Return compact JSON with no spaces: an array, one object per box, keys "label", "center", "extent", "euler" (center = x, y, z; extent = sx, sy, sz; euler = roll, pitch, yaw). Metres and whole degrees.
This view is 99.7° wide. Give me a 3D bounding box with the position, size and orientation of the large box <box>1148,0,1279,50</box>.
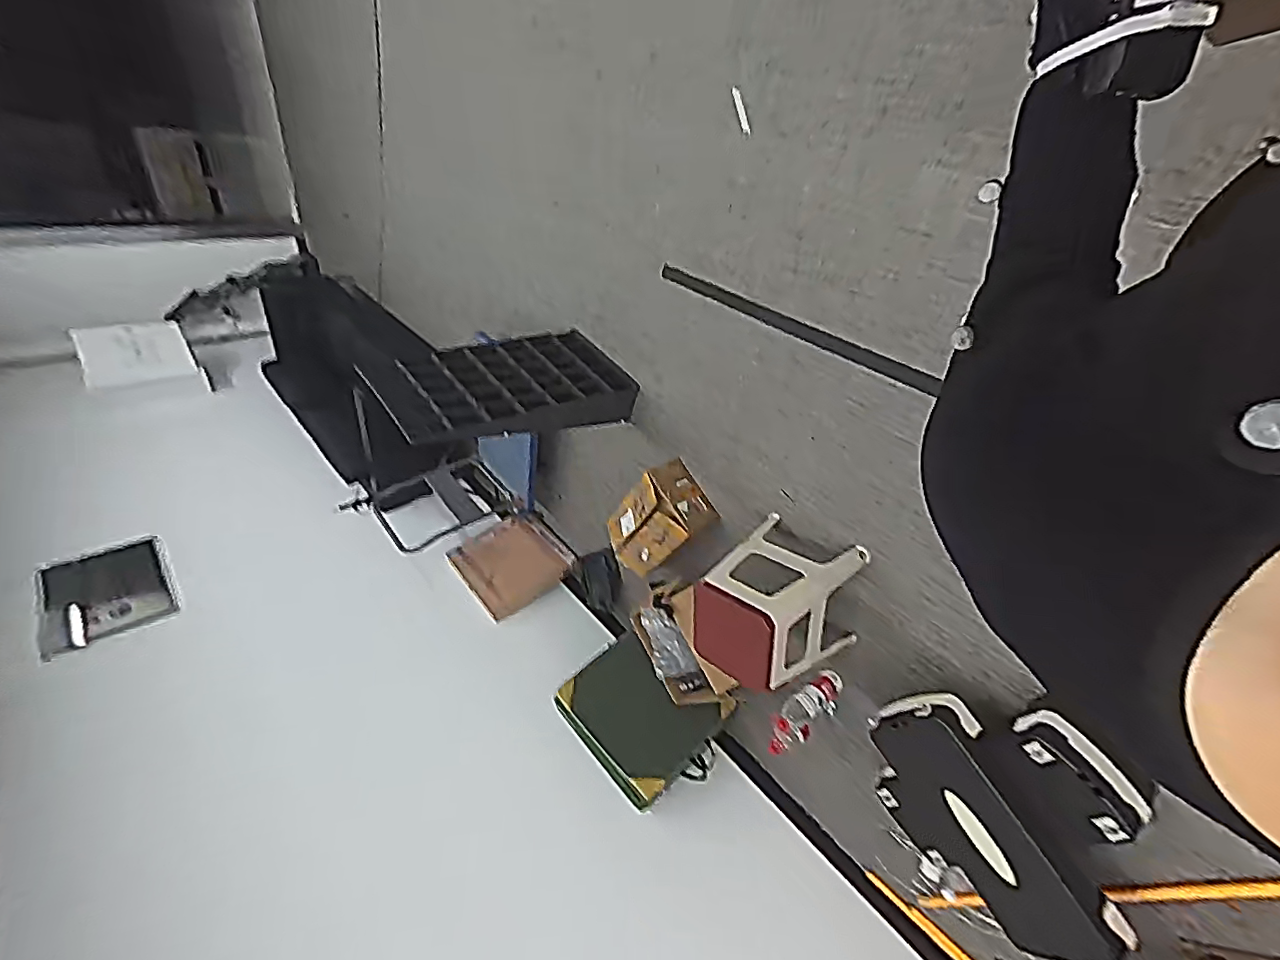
[{"label":"large box","center":[0.545,-0.464,0.241],"extent":[0.408,0.320,0.320],"euler":[16,125,46]}]
